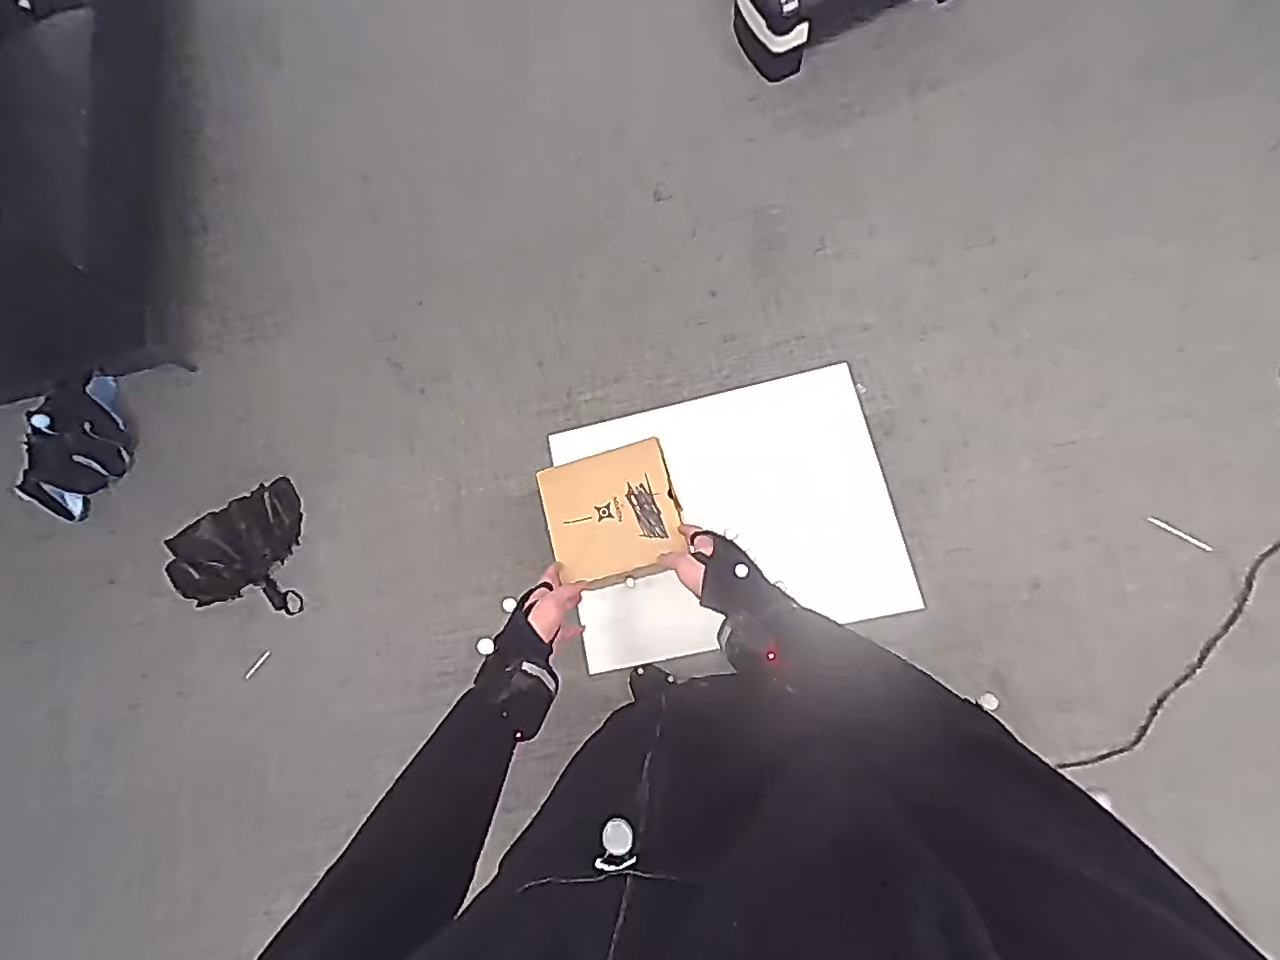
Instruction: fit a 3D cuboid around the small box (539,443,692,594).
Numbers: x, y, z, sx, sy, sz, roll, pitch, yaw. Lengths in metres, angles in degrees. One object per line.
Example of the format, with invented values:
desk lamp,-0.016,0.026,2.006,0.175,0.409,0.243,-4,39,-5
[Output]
small box,-0.026,0.064,0.790,0.179,0.176,0.168,-16,76,5
